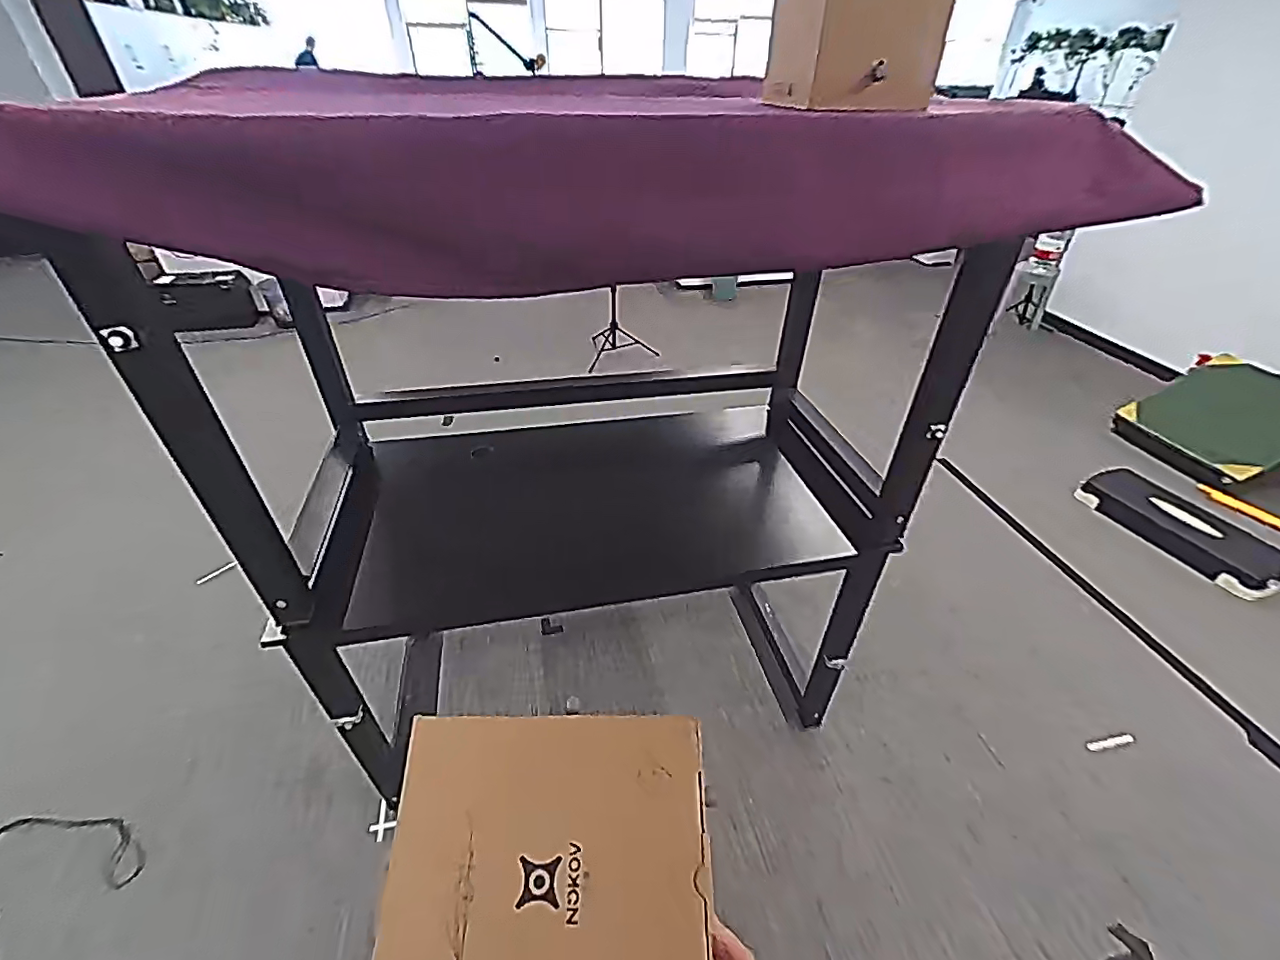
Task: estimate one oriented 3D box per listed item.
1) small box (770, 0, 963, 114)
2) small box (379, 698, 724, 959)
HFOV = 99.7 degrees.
[{"bbox_3d":[0.293,-0.593,0.717,0.179,0.176,0.168,-6,37,-10],"label":"small box"},{"bbox_3d":[-0.044,0.243,0.360,0.179,0.176,0.168,0,62,1],"label":"small box"}]
